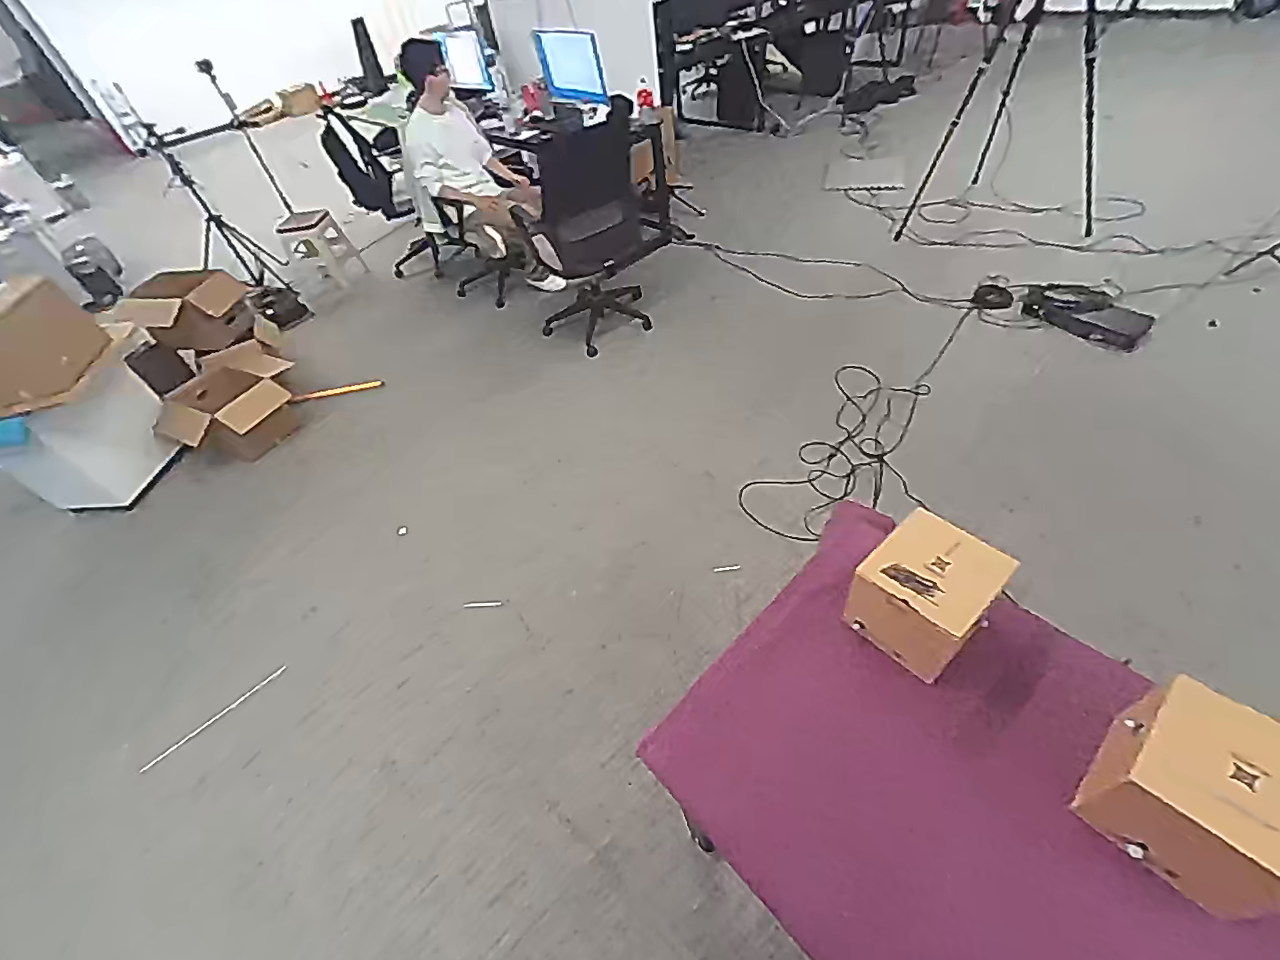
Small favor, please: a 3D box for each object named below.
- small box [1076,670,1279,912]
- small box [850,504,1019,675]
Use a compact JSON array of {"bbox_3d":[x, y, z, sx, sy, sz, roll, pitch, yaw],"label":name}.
[{"bbox_3d":[0.685,0.378,0.662,0.179,0.176,0.168,-38,51,-22],"label":"small box"},{"bbox_3d":[0.464,0.181,0.881,0.179,0.176,0.168,-37,52,-21],"label":"small box"}]
